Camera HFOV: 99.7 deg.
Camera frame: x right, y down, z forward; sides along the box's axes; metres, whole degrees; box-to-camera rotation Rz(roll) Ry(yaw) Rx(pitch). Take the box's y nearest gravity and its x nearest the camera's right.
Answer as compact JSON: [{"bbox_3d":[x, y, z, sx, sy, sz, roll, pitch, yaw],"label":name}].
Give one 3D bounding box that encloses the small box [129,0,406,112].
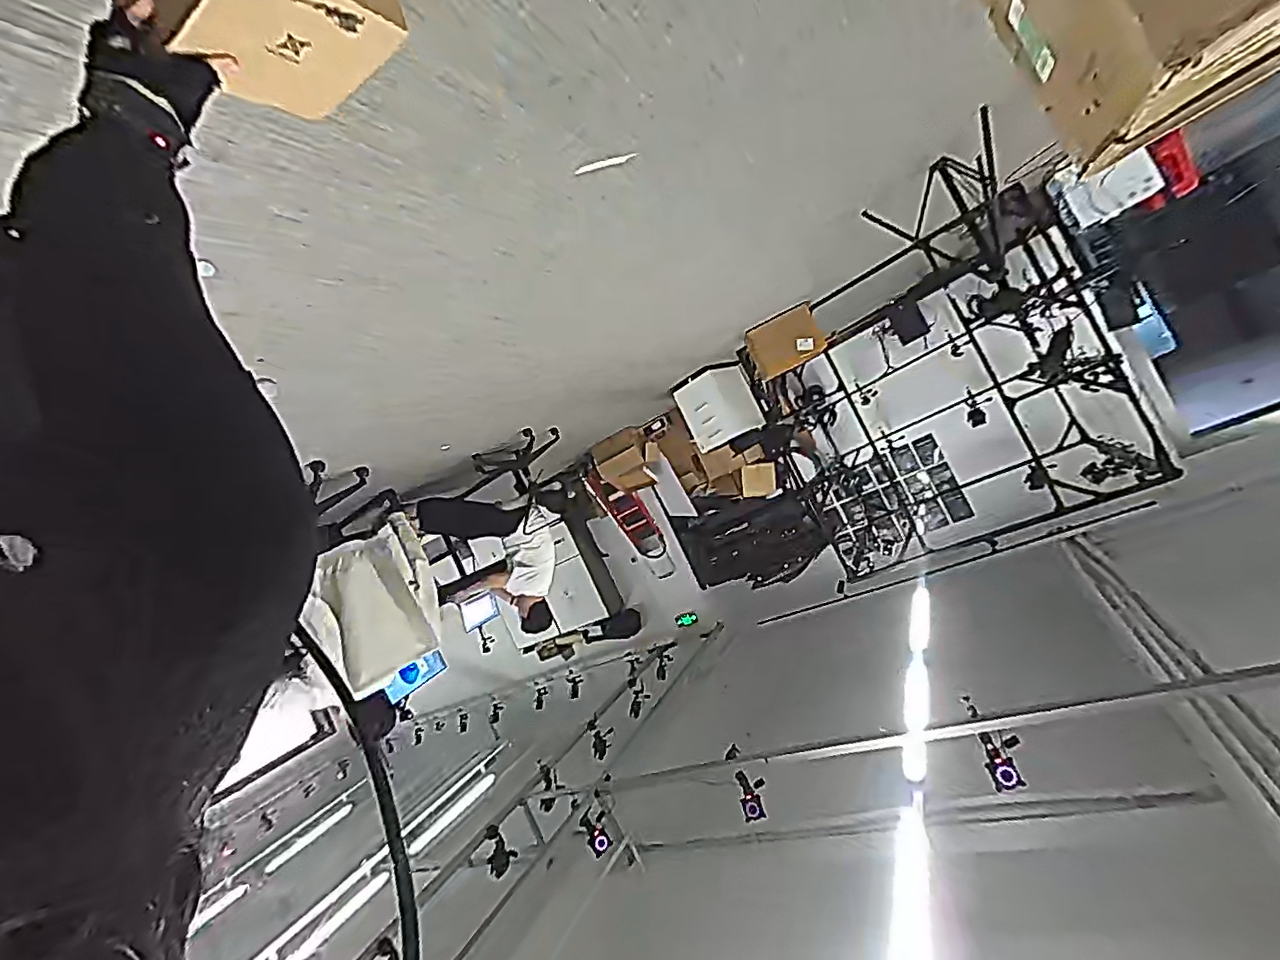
[{"bbox_3d":[-0.368,-0.504,0.512,0.179,0.176,0.168,-13,-170,28],"label":"small box"}]
